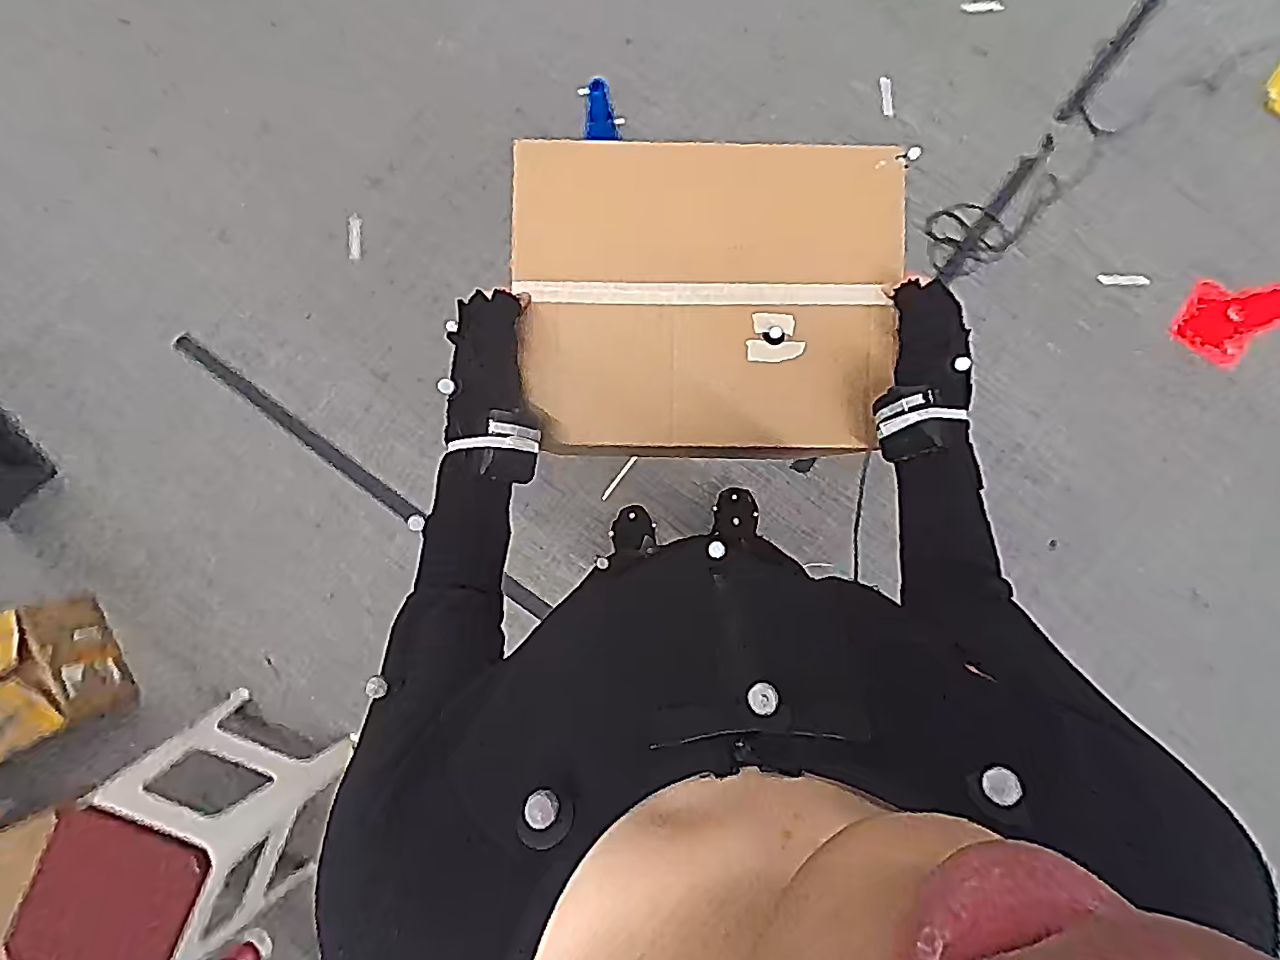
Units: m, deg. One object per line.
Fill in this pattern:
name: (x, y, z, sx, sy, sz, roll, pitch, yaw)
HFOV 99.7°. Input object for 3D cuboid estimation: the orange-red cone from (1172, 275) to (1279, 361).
orange-red cone: (1.630, -0.471, 1.358, 0.198, 0.360, 0.199, 34, 86, 1)

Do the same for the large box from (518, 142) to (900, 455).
large box: (0.068, -0.195, 0.712, 0.408, 0.320, 0.320, 1, 91, -1)
